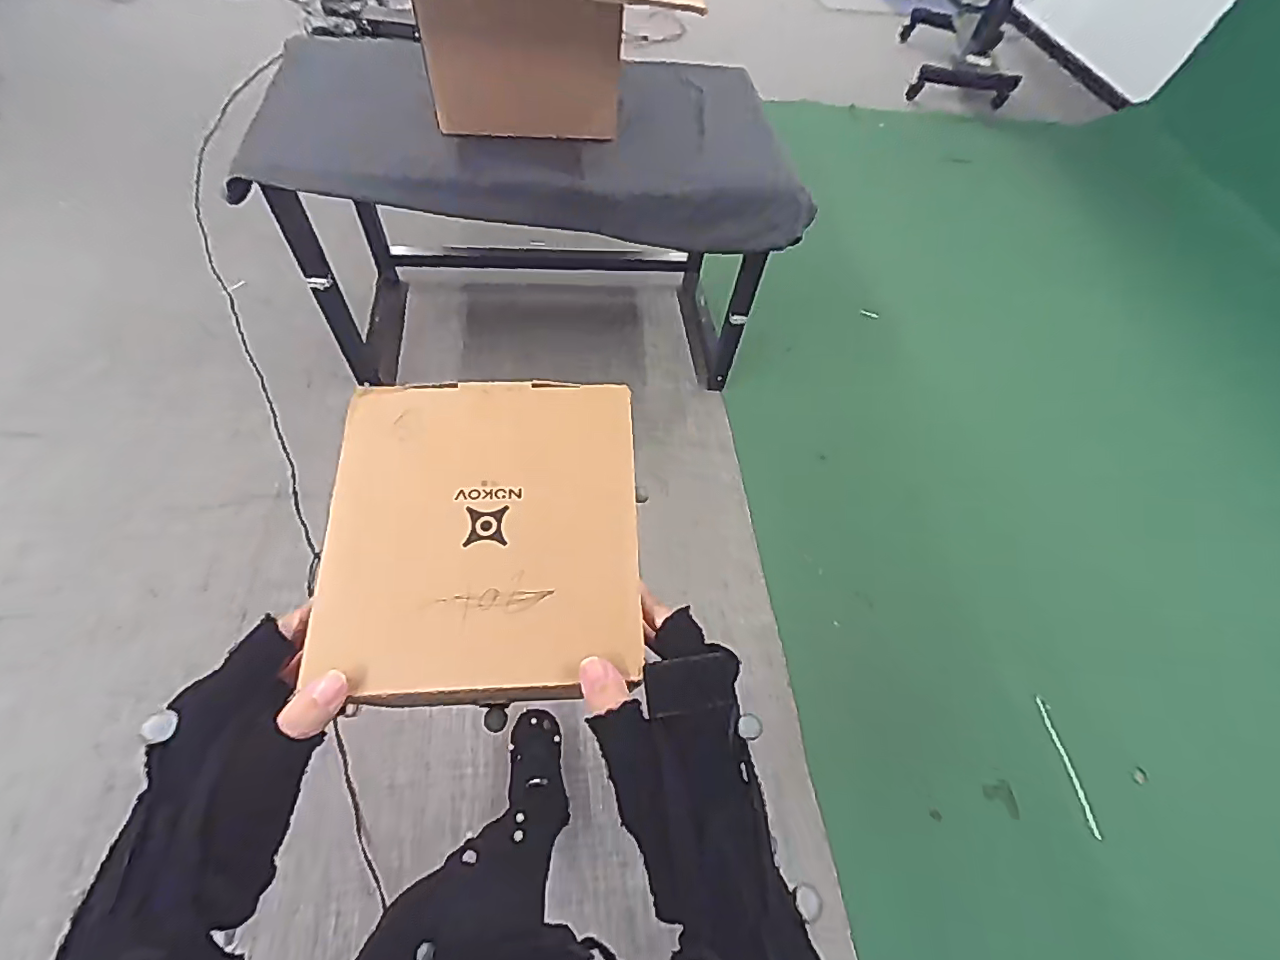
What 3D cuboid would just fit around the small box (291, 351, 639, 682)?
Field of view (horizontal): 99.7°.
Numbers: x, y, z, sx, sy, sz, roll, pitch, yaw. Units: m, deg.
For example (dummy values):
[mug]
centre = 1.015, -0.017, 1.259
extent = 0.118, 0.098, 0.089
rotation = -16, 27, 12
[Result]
[small box]
centre = -0.091, 0.036, 0.364
extent = 0.168, 0.176, 0.179
rotation = 0, 67, -5
